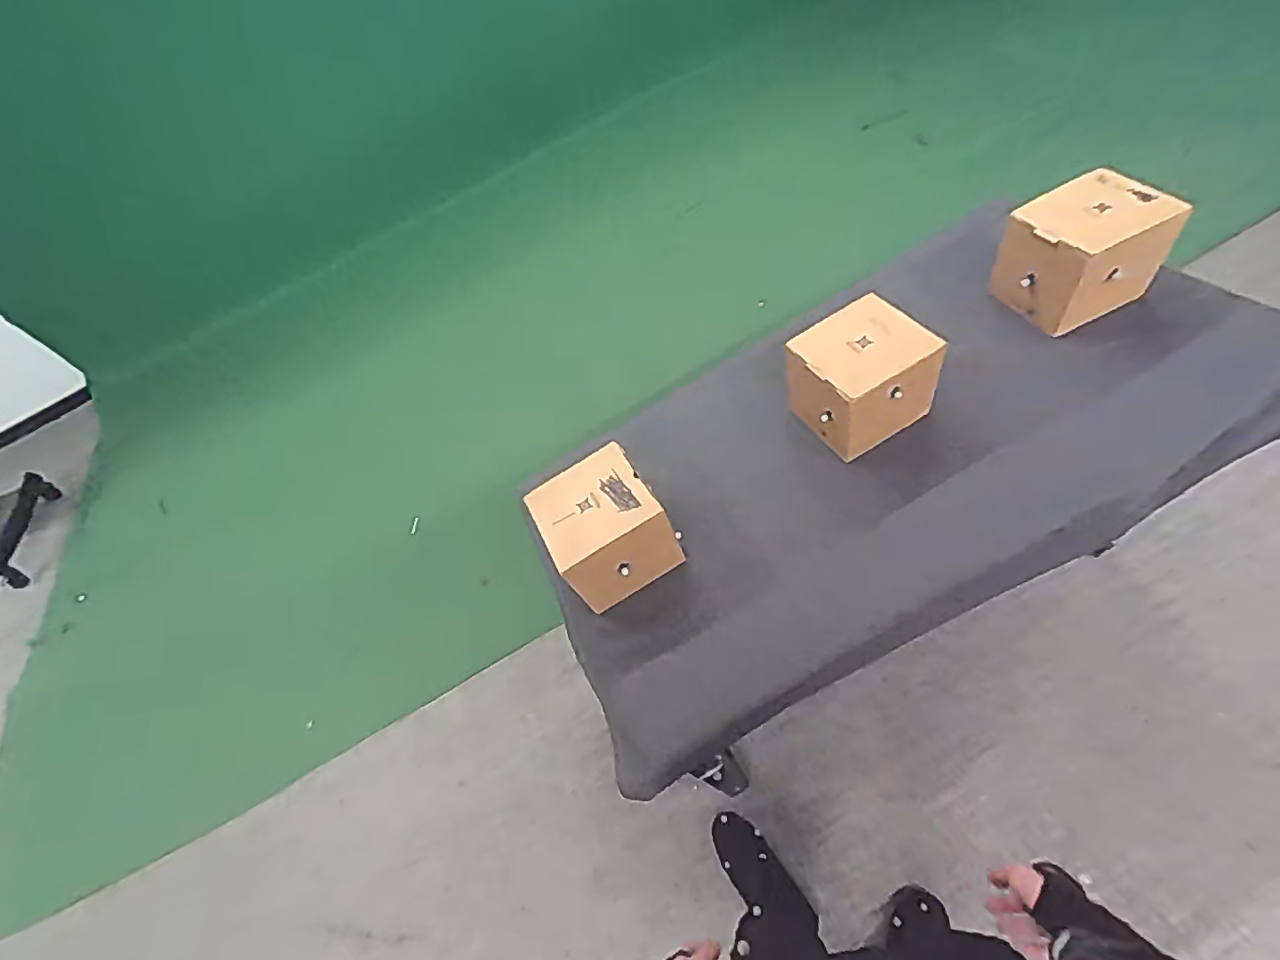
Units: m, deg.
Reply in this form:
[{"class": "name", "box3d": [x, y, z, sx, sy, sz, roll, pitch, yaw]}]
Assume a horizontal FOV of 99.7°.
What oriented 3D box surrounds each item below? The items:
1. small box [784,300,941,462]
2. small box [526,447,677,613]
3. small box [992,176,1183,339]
[{"class": "small box", "box3d": [0.367, -0.162, 0.917, 0.179, 0.176, 0.168, -30, 54, -5]}, {"class": "small box", "box3d": [-0.054, 0.086, 0.883, 0.179, 0.176, 0.168, -31, 53, -4]}, {"class": "small box", "box3d": [0.747, -0.377, 0.933, 0.179, 0.176, 0.168, -26, 53, 1]}]
